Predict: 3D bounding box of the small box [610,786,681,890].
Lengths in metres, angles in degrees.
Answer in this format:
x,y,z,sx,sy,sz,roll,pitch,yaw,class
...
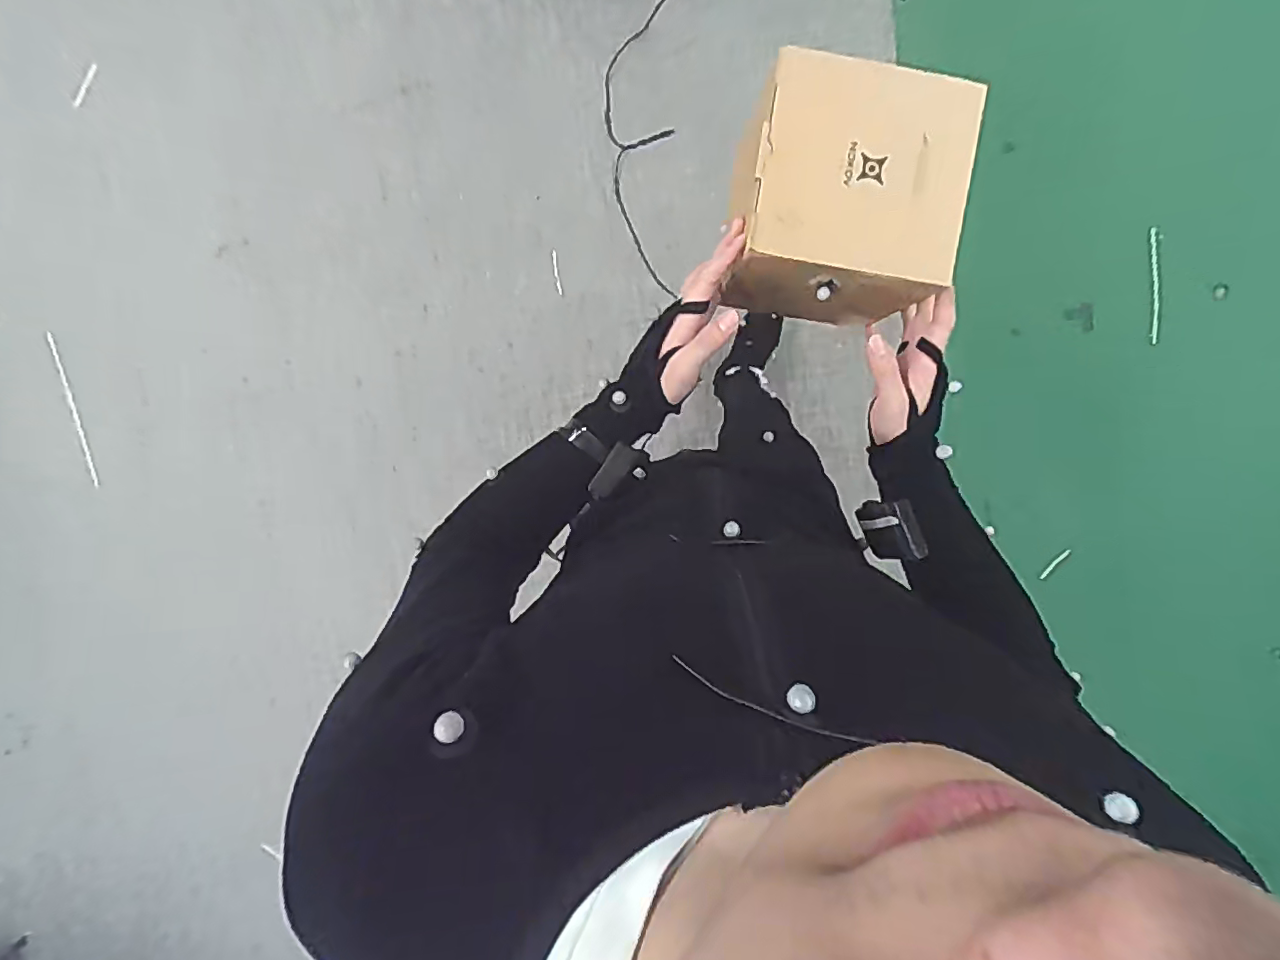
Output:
x,y,z,sx,sy,sz,roll,pitch,yaw,class
0.015,0.981,1.502,0.168,0.176,0.179,-11,98,3,small box

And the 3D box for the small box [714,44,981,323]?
x,y,z,sx,sy,sz,roll,pitch,yaw,class
0.176,-0.259,0.516,0.179,0.176,0.168,8,93,-3,small box
